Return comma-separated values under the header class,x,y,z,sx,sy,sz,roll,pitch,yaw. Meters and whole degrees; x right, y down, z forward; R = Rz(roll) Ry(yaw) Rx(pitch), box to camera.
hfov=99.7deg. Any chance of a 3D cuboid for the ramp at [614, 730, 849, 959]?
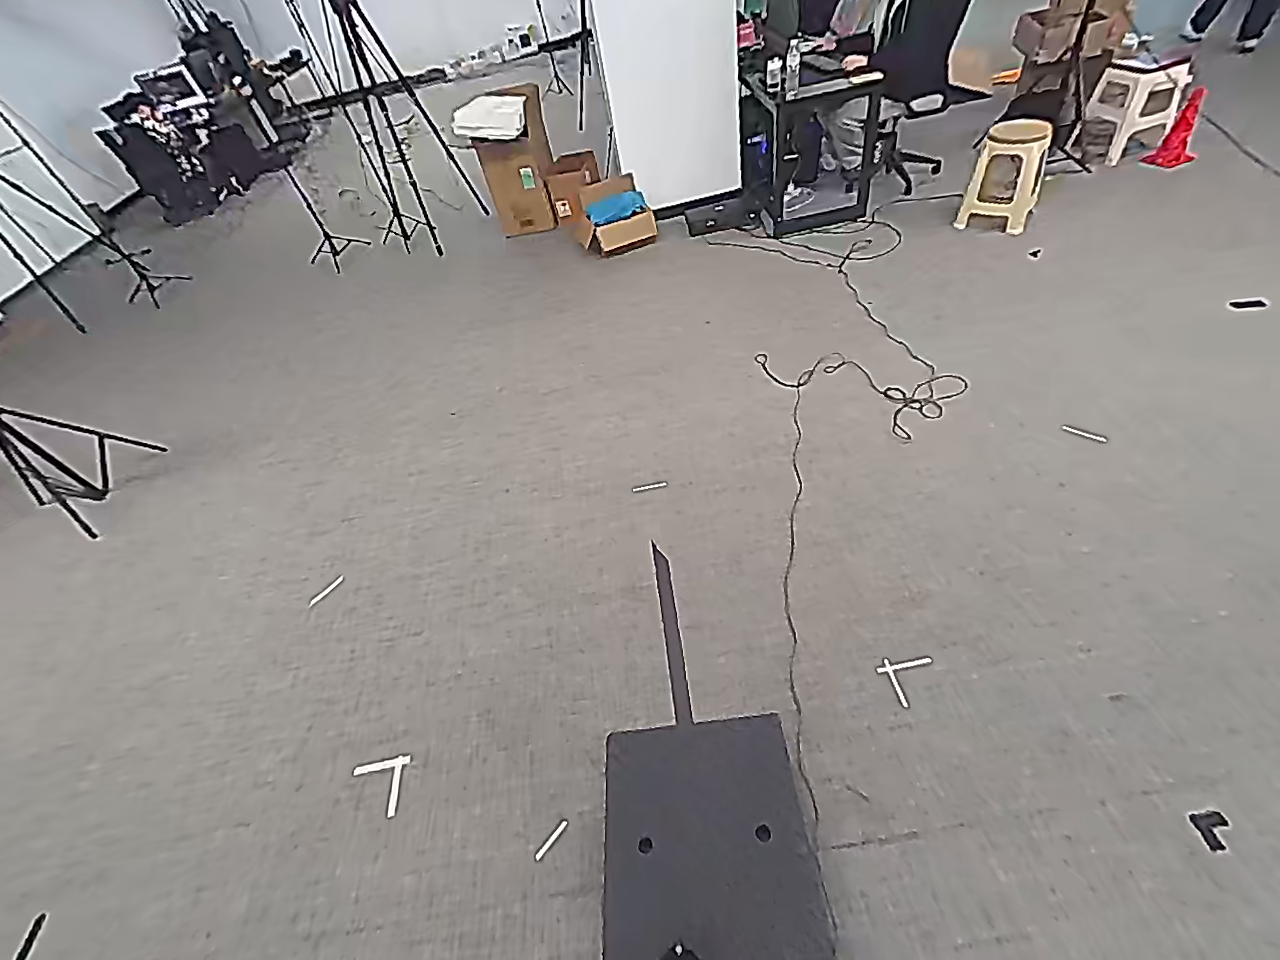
class,x,y,z,sx,sy,sz,roll,pitch,yaw
ramp,0.184,1.023,1.114,0.509,0.206,0.991,-13,44,4
